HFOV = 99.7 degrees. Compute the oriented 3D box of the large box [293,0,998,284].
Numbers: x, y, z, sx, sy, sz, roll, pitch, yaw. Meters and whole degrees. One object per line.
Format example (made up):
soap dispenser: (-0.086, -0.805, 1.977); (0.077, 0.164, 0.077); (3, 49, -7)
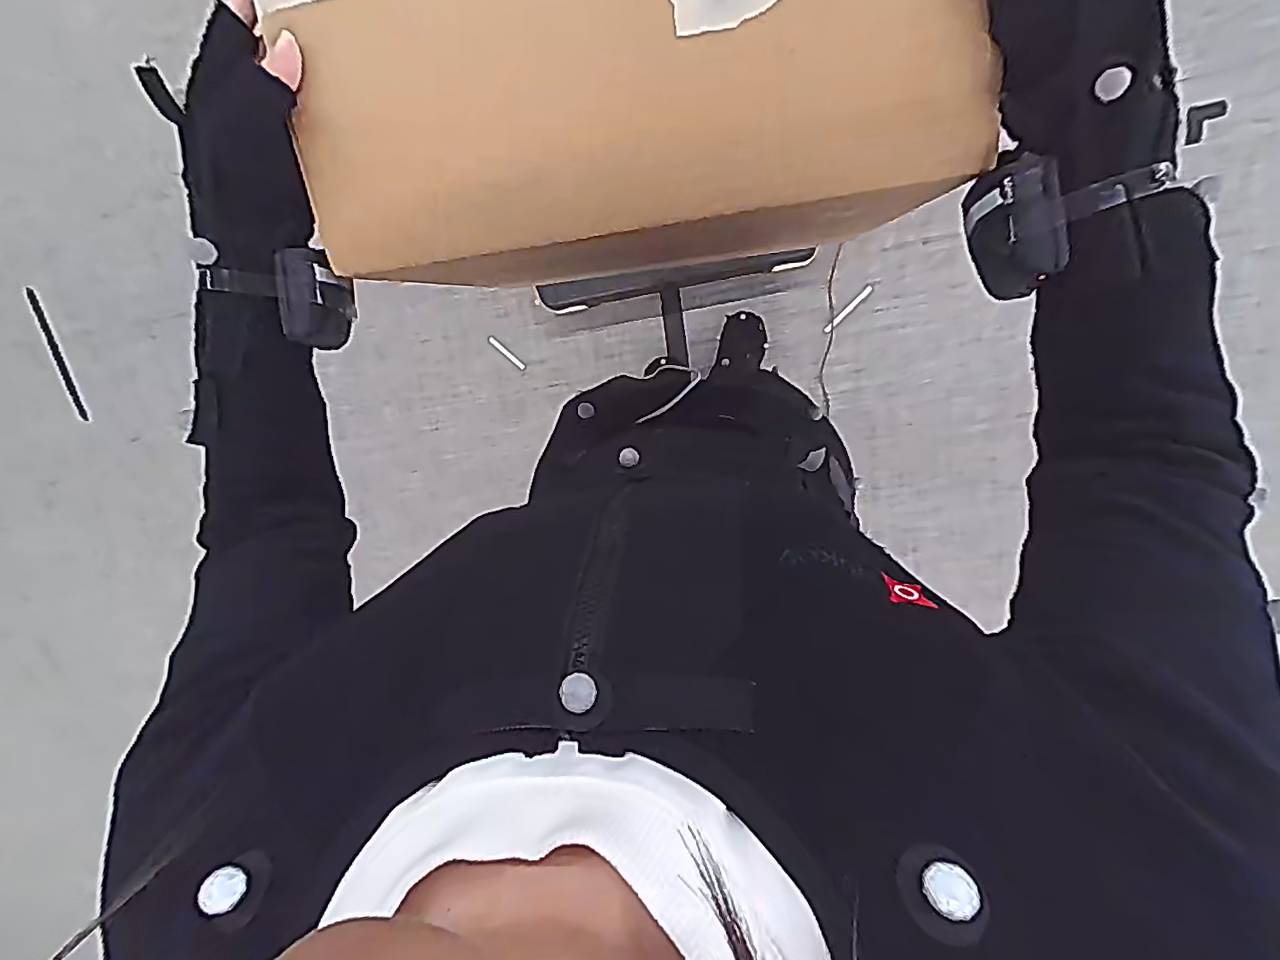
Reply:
large box: (0.002, -0.354, 0.435); (0.408, 0.320, 0.320); (-5, 108, 10)
